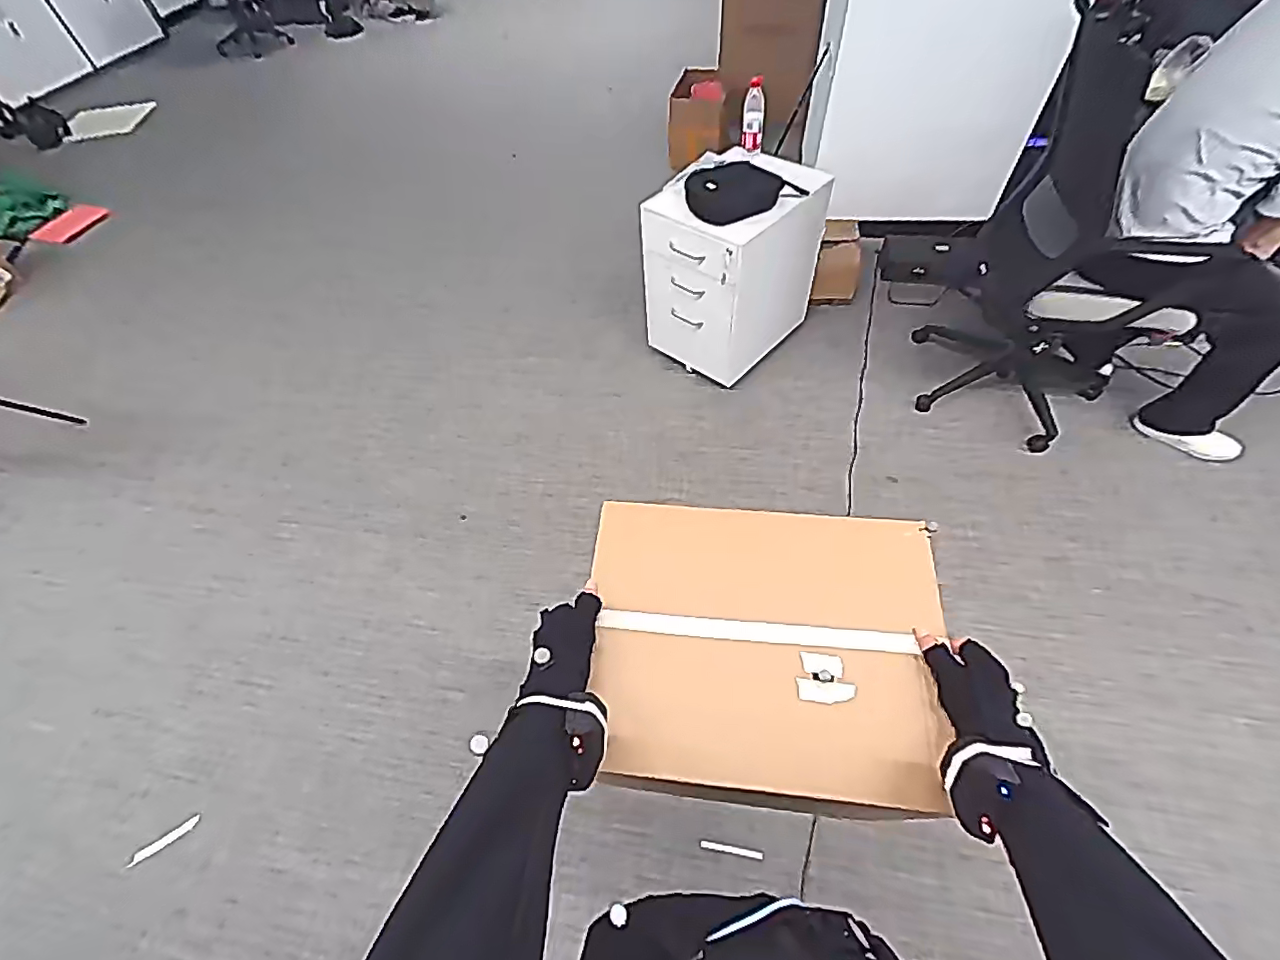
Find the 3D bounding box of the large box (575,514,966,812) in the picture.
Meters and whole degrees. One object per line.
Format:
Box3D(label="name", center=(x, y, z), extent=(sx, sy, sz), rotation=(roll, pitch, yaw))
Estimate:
Box3D(label="large box", center=(0.146, 0.263, 0.753), extent=(0.408, 0.320, 0.320), rotation=(3, 59, 6))
